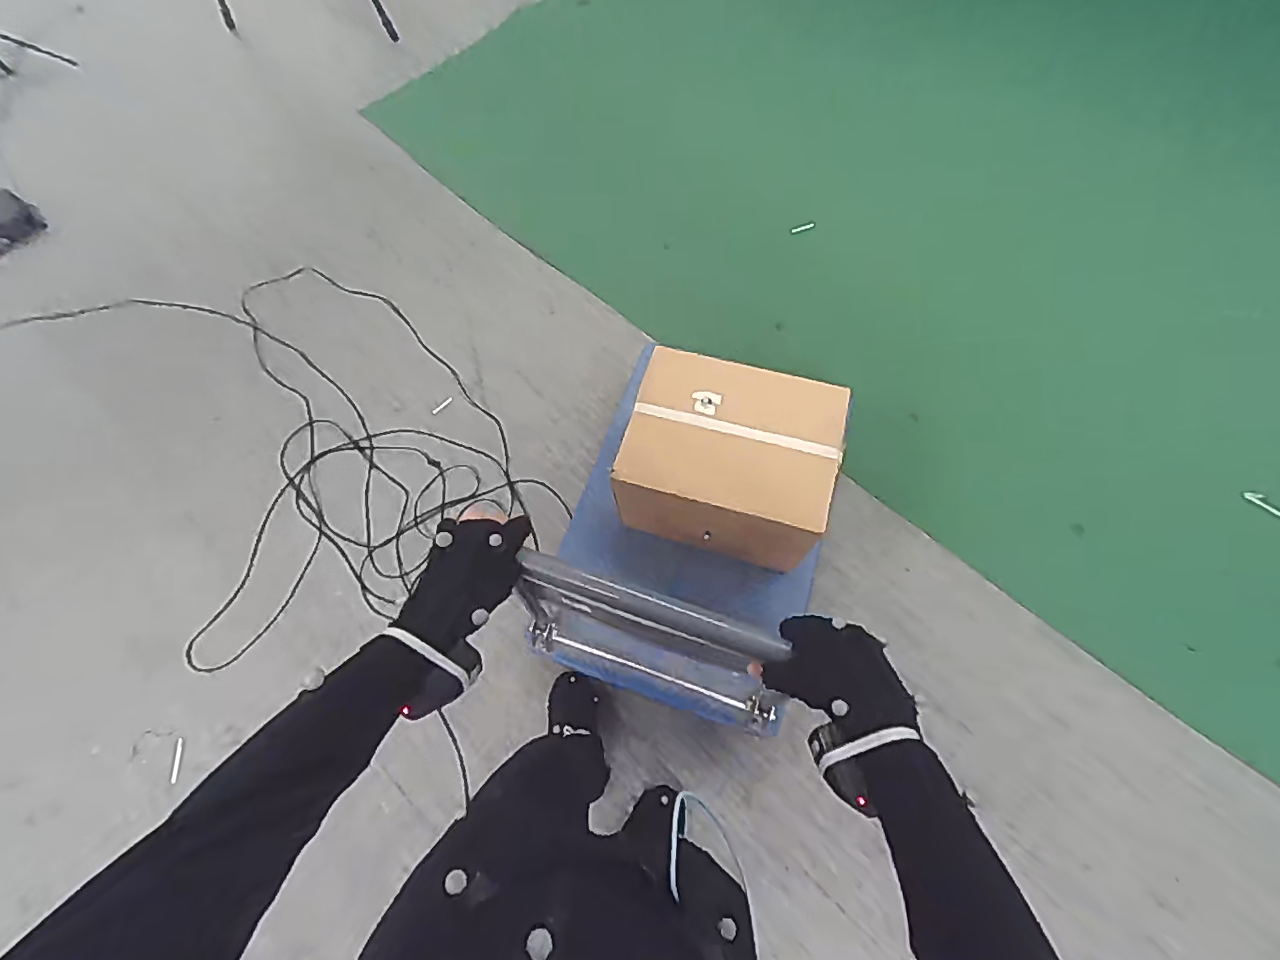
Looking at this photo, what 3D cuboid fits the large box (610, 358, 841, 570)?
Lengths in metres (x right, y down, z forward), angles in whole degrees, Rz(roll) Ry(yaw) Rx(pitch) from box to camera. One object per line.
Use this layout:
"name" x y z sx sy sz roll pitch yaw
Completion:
"large box" 0.184 -0.023 1.195 0.408 0.320 0.320 14 68 9
